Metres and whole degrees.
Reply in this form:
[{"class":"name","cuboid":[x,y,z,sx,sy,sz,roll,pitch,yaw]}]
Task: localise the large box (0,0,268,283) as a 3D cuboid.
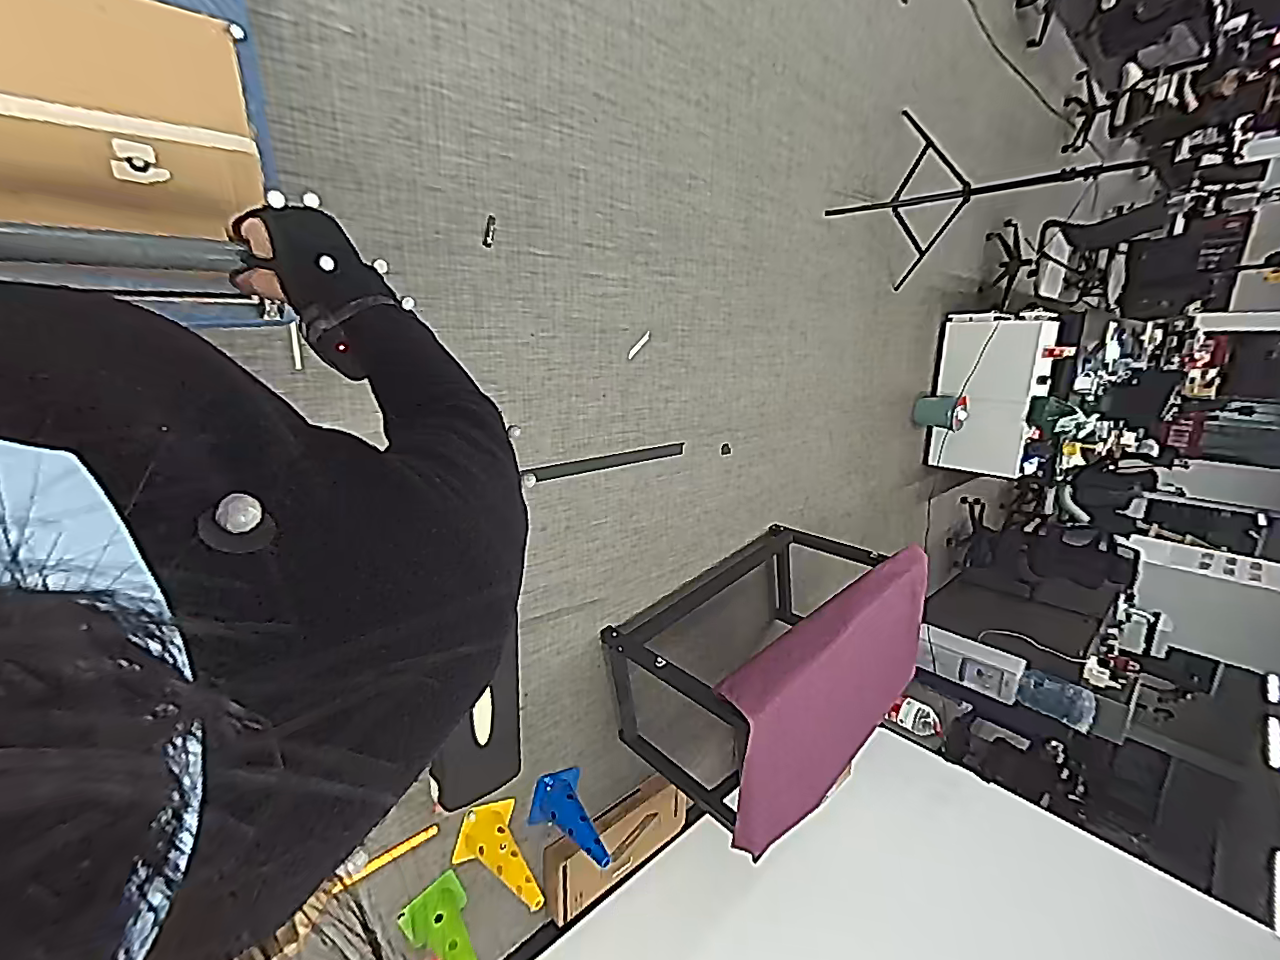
[{"class":"large box","cuboid":[-0.820,-0.461,0.766,0.408,0.320,0.320,-14,110,-41]}]
